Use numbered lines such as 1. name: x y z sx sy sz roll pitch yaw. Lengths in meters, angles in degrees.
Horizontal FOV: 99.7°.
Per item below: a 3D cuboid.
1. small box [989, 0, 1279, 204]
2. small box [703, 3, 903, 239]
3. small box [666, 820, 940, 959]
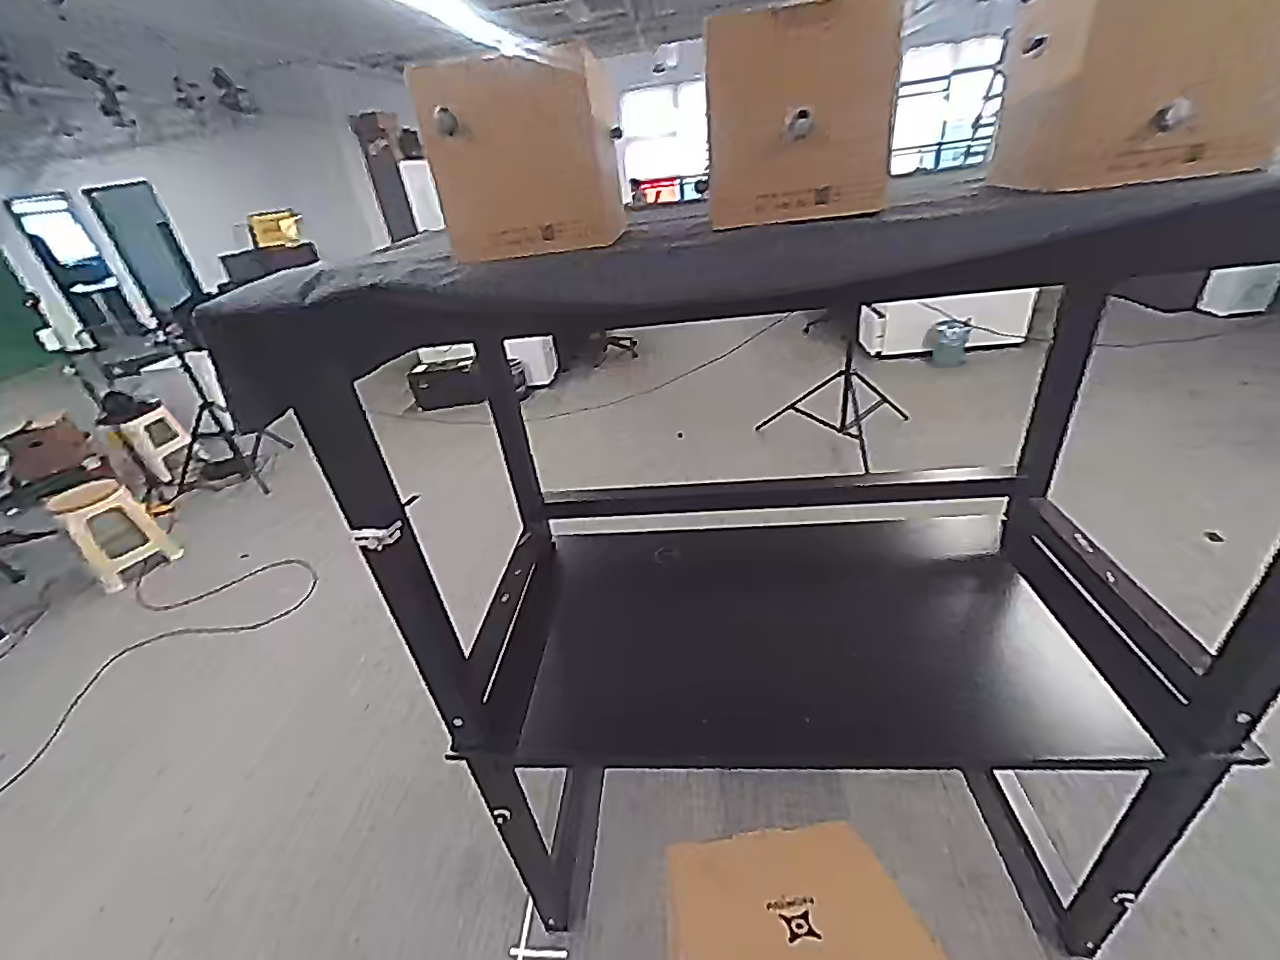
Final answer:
1. small box: 0.462 -0.365 0.514 0.168 0.176 0.179 -1 30 13
2. small box: 0.151 -0.350 0.558 0.168 0.176 0.179 -2 29 7
3. small box: 0.115 0.396 0.394 0.168 0.176 0.179 -5 7 -7
